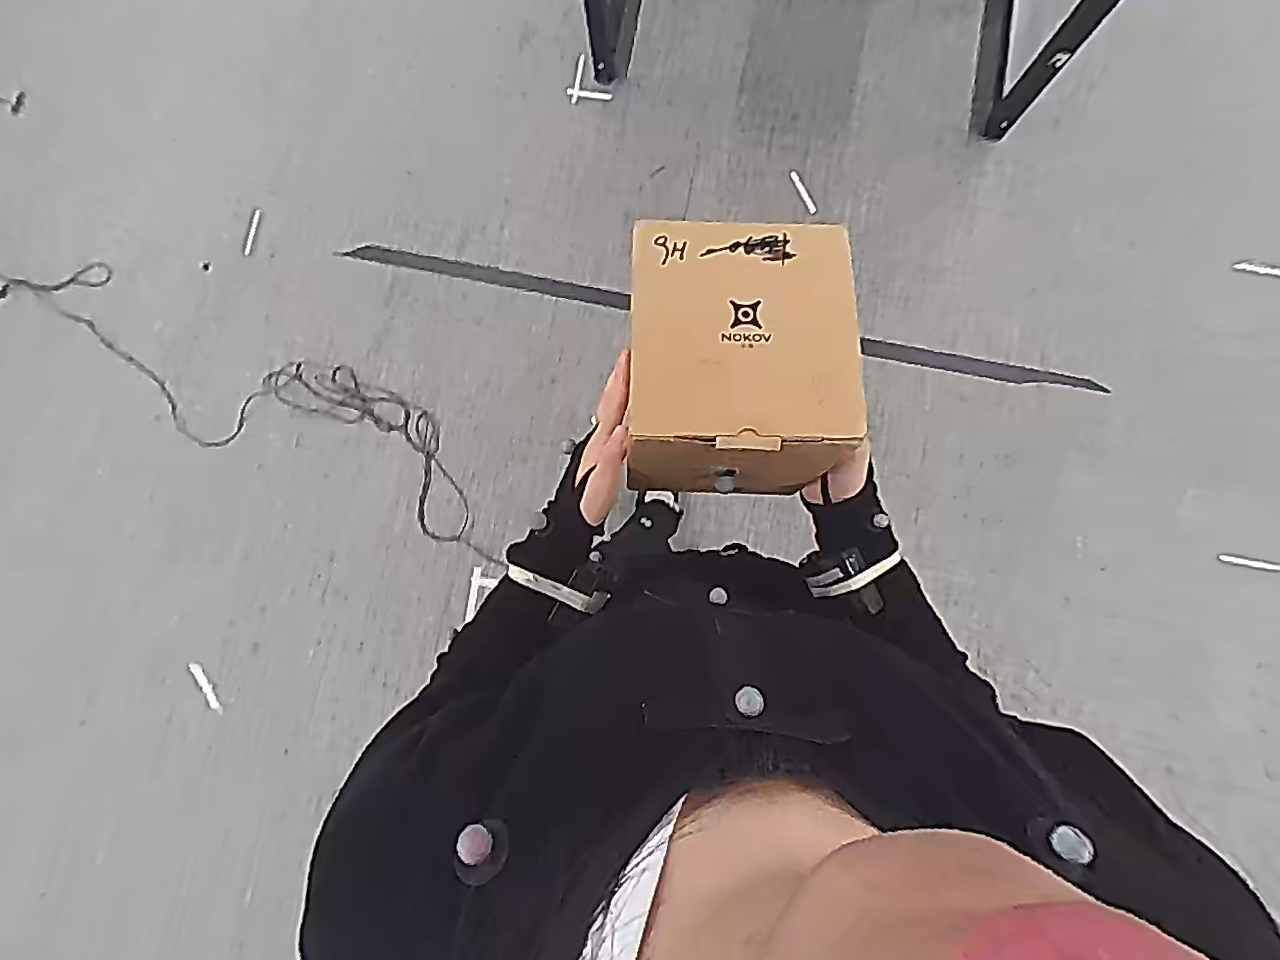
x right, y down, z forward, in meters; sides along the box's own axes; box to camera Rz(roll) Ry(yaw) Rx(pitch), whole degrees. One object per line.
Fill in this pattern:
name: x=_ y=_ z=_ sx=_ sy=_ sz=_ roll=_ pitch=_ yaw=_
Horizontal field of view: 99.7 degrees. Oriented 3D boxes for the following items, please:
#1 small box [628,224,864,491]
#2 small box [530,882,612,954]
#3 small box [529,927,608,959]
small box: x=0.075 y=-0.090 z=0.469 sx=0.168 sy=0.176 sz=0.179 roll=1 pitch=77 yaw=-1
small box: x=-0.171 y=1.143 z=1.343 sx=0.179 sy=0.176 sz=0.168 roll=6 pitch=85 yaw=2
small box: x=-0.168 y=1.127 z=1.179 sx=0.179 sy=0.176 sz=0.168 roll=9 pitch=85 yaw=2
